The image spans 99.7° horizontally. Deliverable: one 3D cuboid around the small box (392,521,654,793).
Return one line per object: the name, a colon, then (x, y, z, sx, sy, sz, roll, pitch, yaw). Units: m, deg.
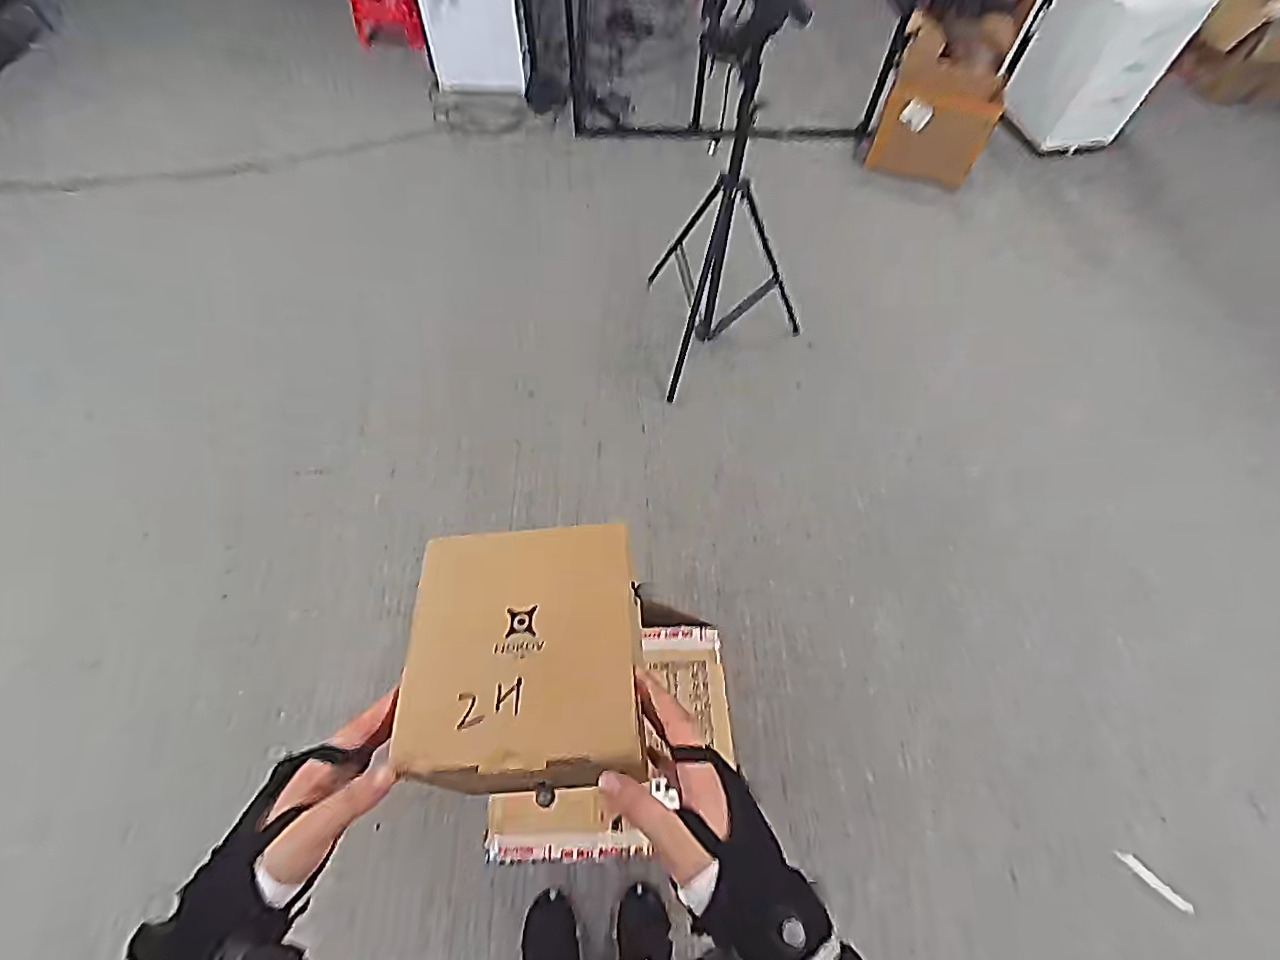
small box: (-0.078, 0.155, 0.457, 0.168, 0.176, 0.179, -6, 57, 2)
